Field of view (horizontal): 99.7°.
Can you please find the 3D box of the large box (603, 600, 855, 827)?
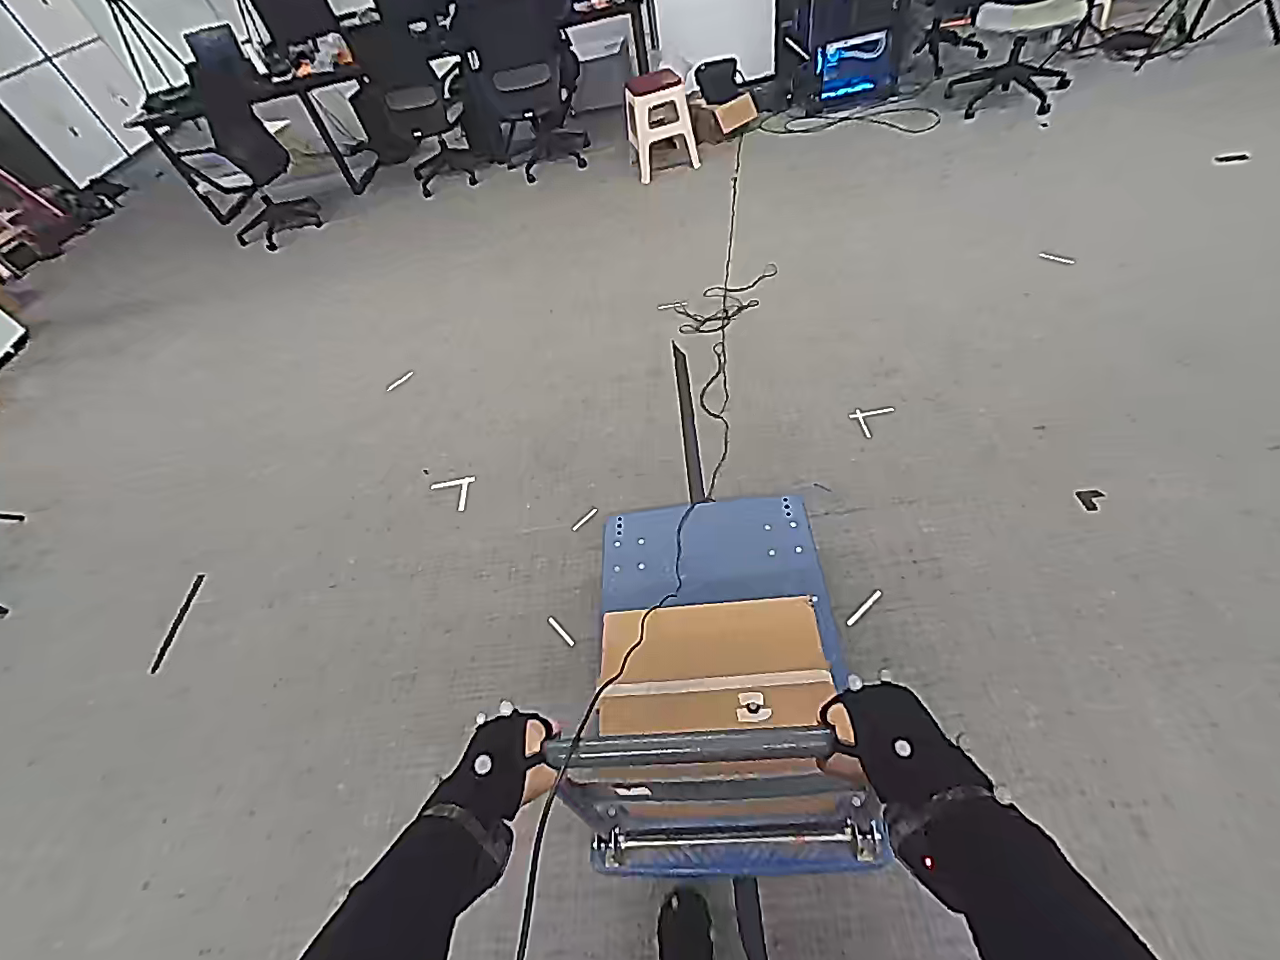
[{"bbox_3d":[0.154,0.460,1.048,0.408,0.320,0.320,-7,50,7],"label":"large box"}]
